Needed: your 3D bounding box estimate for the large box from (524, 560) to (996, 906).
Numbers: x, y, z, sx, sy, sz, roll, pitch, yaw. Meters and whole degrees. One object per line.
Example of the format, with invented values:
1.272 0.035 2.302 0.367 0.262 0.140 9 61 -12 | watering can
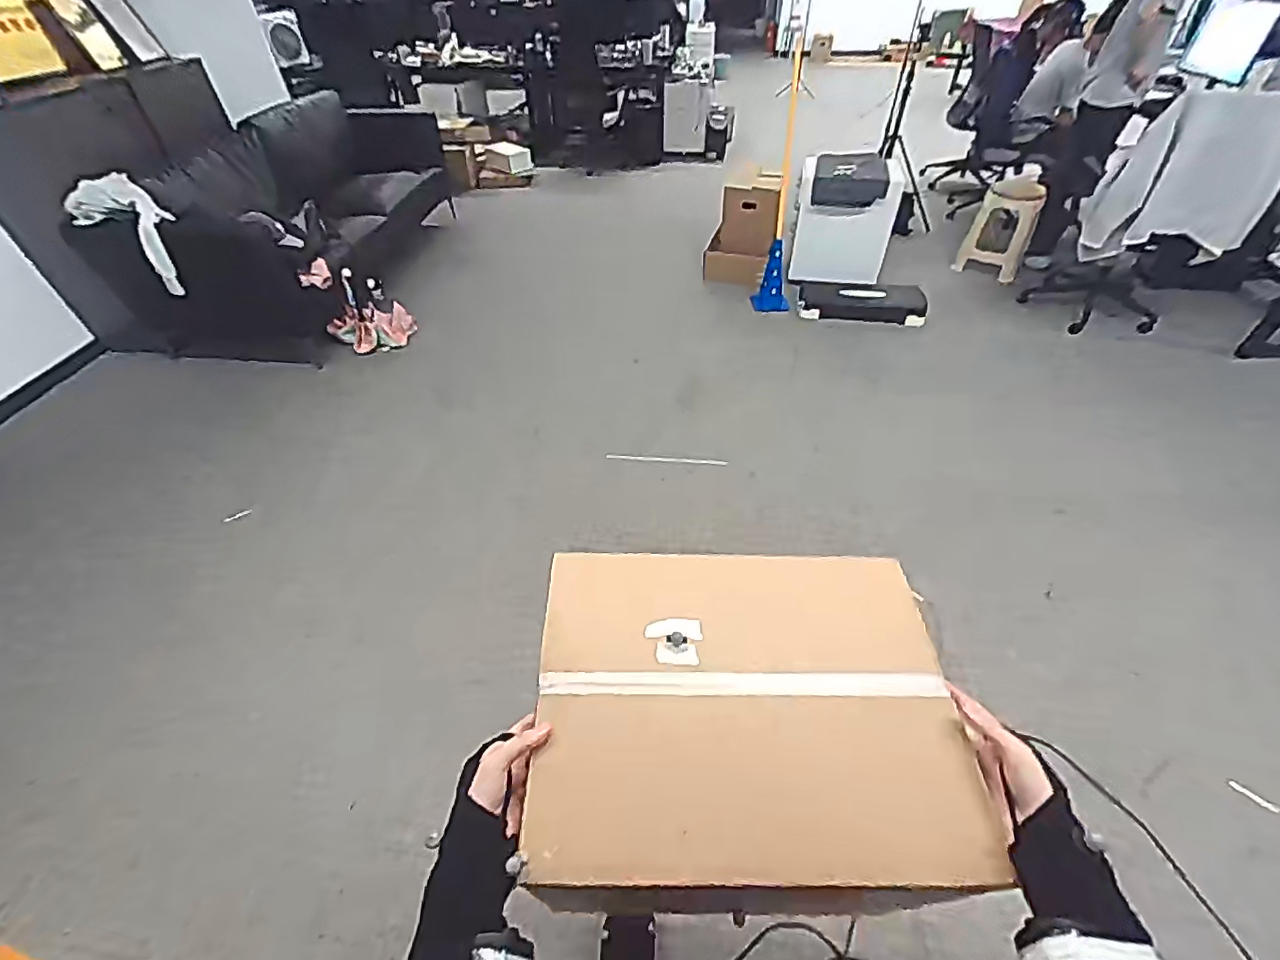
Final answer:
0.100 0.310 0.655 0.408 0.320 0.320 0 47 -1 | large box
